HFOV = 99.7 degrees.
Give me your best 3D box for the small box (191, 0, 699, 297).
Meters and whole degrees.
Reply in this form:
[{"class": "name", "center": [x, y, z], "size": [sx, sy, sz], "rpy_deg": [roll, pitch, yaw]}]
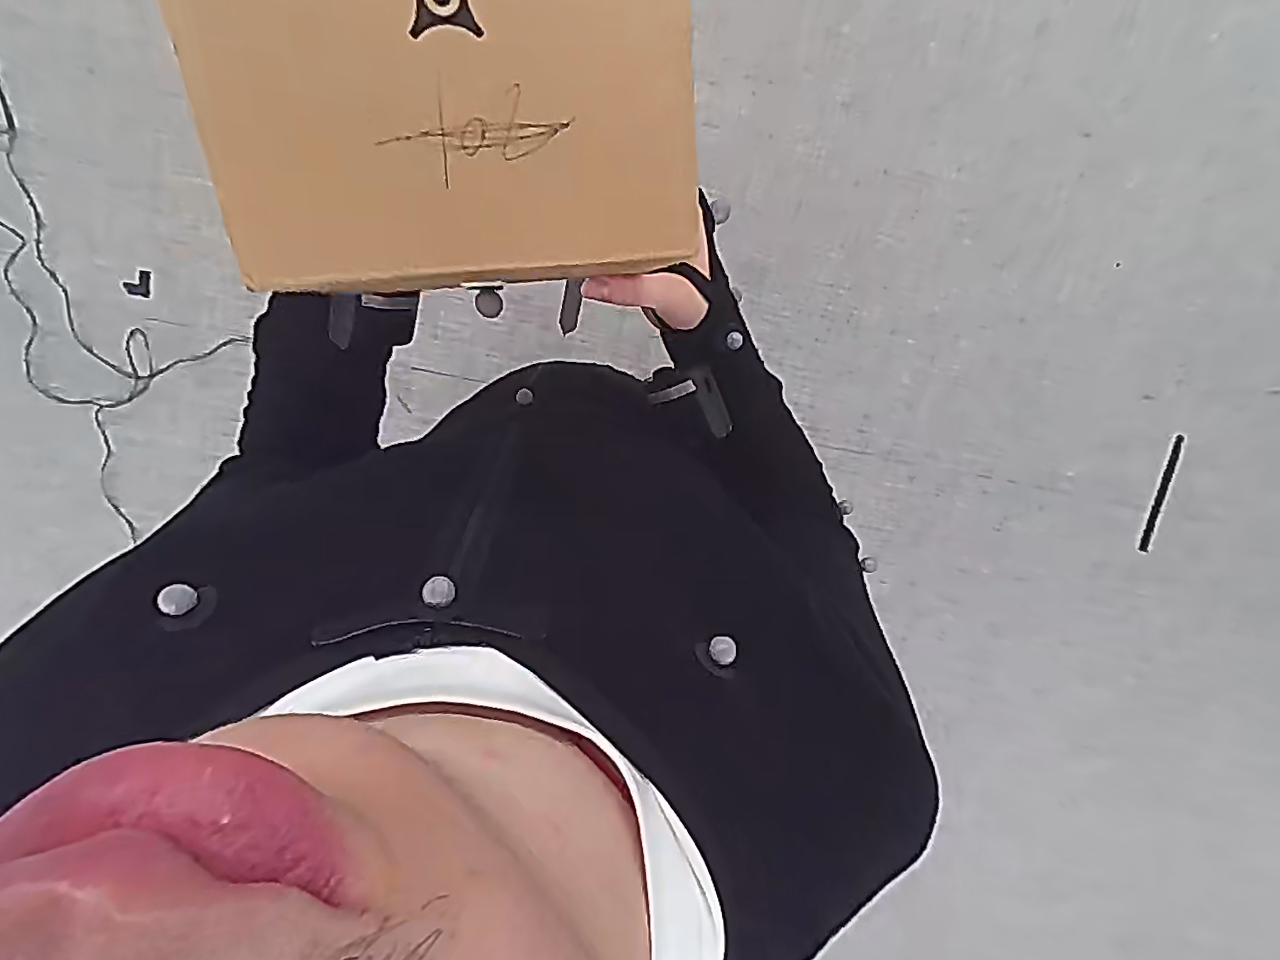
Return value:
[{"class": "small box", "center": [-0.076, -0.187, 0.259], "size": [0.168, 0.176, 0.179], "rpy_deg": [-8, 110, -6]}]
